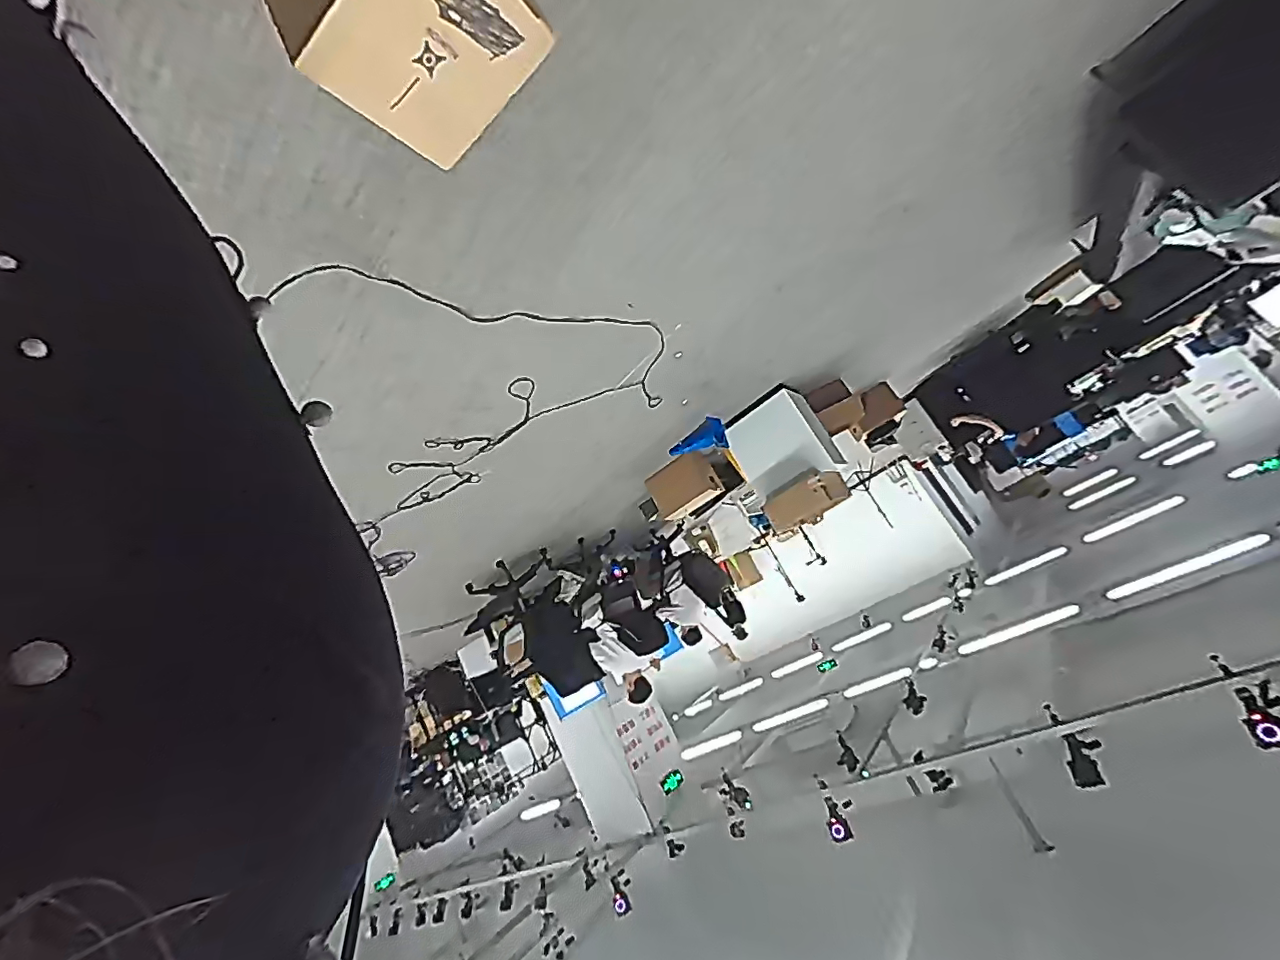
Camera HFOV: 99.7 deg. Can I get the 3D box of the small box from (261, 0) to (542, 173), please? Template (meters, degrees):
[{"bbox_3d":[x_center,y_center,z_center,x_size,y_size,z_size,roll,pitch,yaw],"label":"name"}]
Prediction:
[{"bbox_3d":[-0.231,-0.450,0.509,0.179,0.176,0.168,-32,164,23],"label":"small box"}]
